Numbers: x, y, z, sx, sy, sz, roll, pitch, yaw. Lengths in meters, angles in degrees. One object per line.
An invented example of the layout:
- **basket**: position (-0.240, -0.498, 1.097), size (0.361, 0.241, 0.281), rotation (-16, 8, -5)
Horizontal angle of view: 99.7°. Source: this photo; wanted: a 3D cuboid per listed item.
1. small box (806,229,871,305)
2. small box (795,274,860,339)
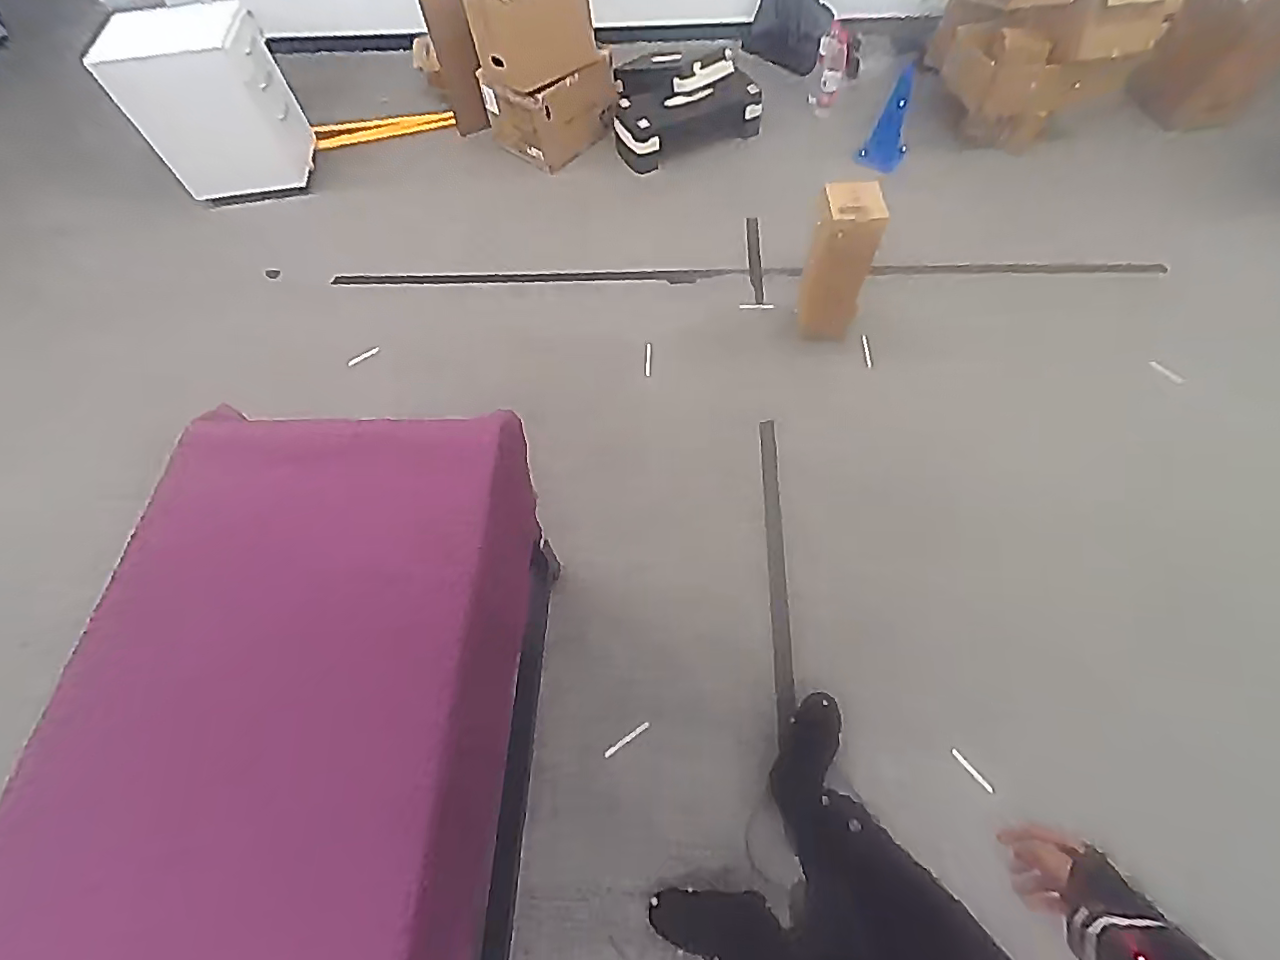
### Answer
- **small box**: position (0.668, -0.722, 1.841), size (0.168, 0.176, 0.179), rotation (4, 63, 5)
- **small box**: position (0.679, -0.634, 1.978), size (0.179, 0.176, 0.168), rotation (-1, 62, 3)
